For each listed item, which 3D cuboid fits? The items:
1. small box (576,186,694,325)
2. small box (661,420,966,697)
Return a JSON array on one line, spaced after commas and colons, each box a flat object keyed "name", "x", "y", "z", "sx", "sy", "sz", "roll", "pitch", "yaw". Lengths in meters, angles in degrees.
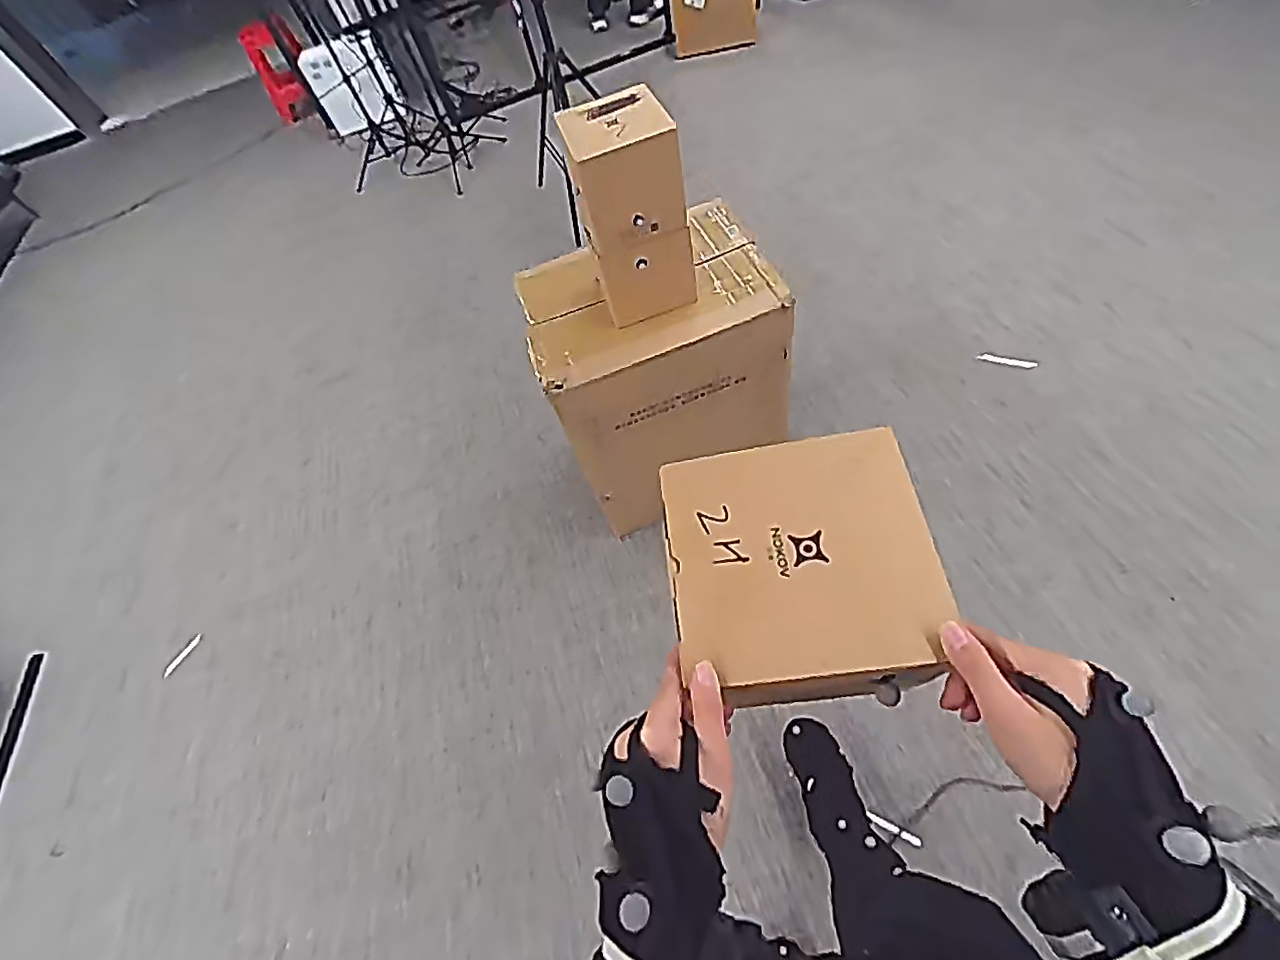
[{"name": "small box", "x": -0.006, "y": -0.437, "z": 1.070, "sx": 0.179, "sy": 0.176, "sz": 0.168, "roll": -20, "pitch": 56, "yaw": -1}, {"name": "small box", "x": 0.121, "y": 0.076, "z": 0.440, "sx": 0.179, "sy": 0.176, "sz": 0.168, "roll": -10, "pitch": 61, "yaw": 8}]
